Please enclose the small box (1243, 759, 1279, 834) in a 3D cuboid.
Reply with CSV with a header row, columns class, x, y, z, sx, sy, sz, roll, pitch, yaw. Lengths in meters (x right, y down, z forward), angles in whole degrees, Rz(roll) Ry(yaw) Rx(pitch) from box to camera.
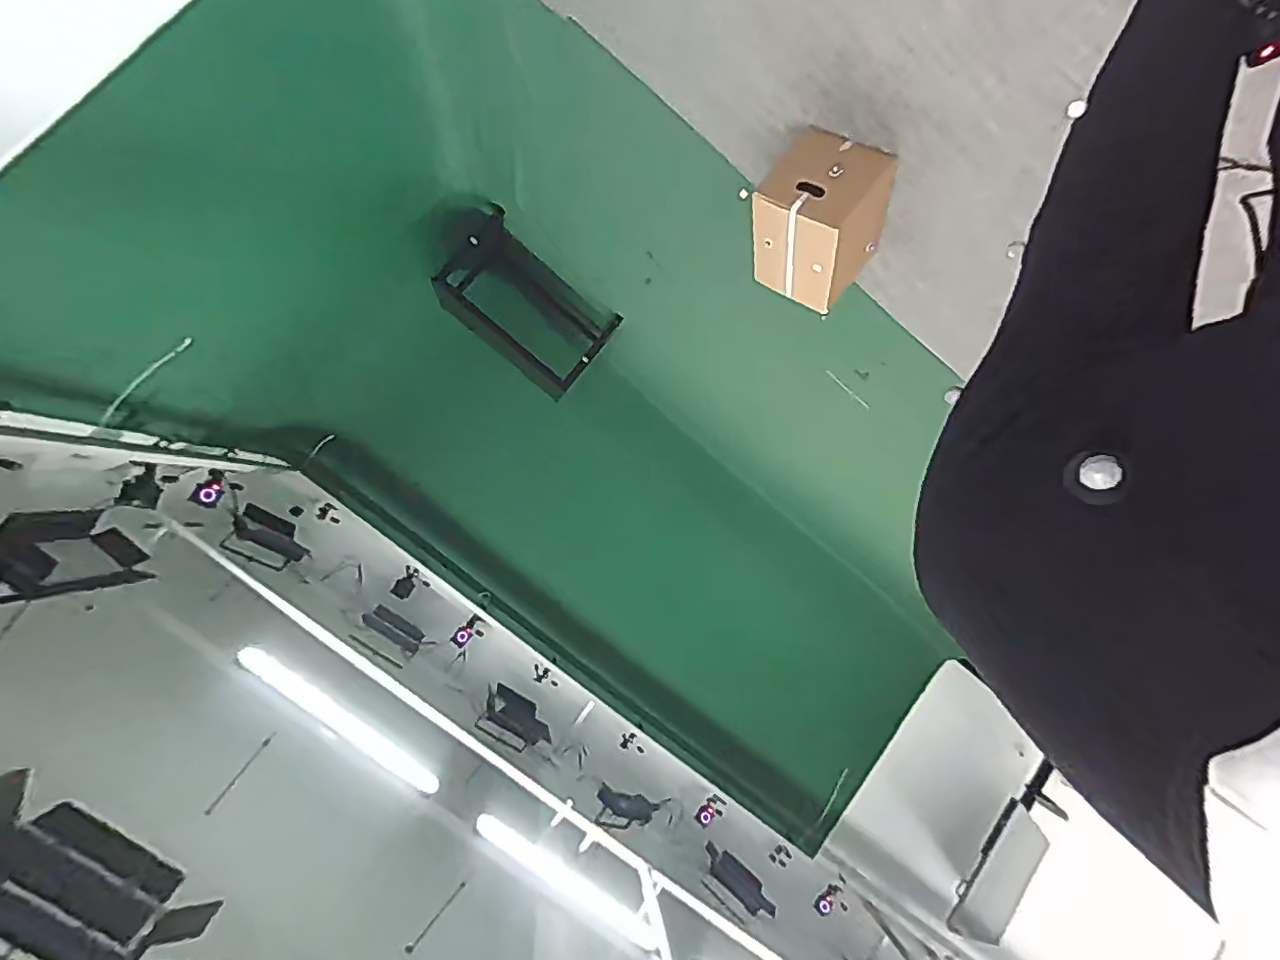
class,x,y,z,sx,sy,sz,roll,pitch,yaw
small box,1.833,0.894,1.467,0.168,0.176,0.179,39,172,-7
